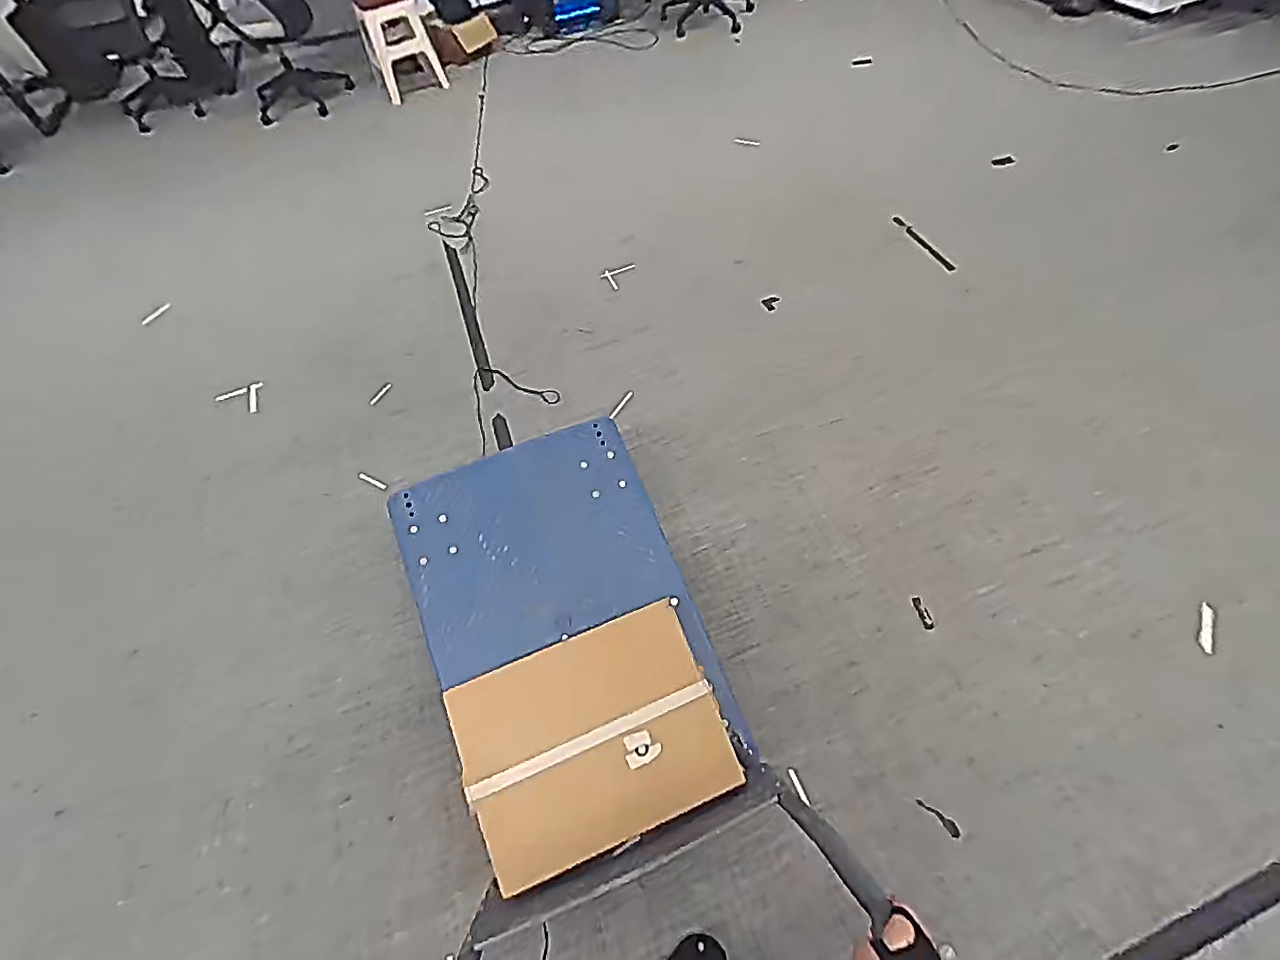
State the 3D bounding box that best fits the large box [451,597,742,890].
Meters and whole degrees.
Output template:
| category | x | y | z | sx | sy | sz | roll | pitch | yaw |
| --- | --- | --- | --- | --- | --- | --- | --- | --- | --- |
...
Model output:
| category | x | y | z | sx | sy | sz | roll | pitch | yaw |
| --- | --- | --- | --- | --- | --- | --- | --- | --- | --- |
| large box | -0.081 | 0.456 | 1.019 | 0.408 | 0.320 | 0.320 | -21 | 76 | -9 |
